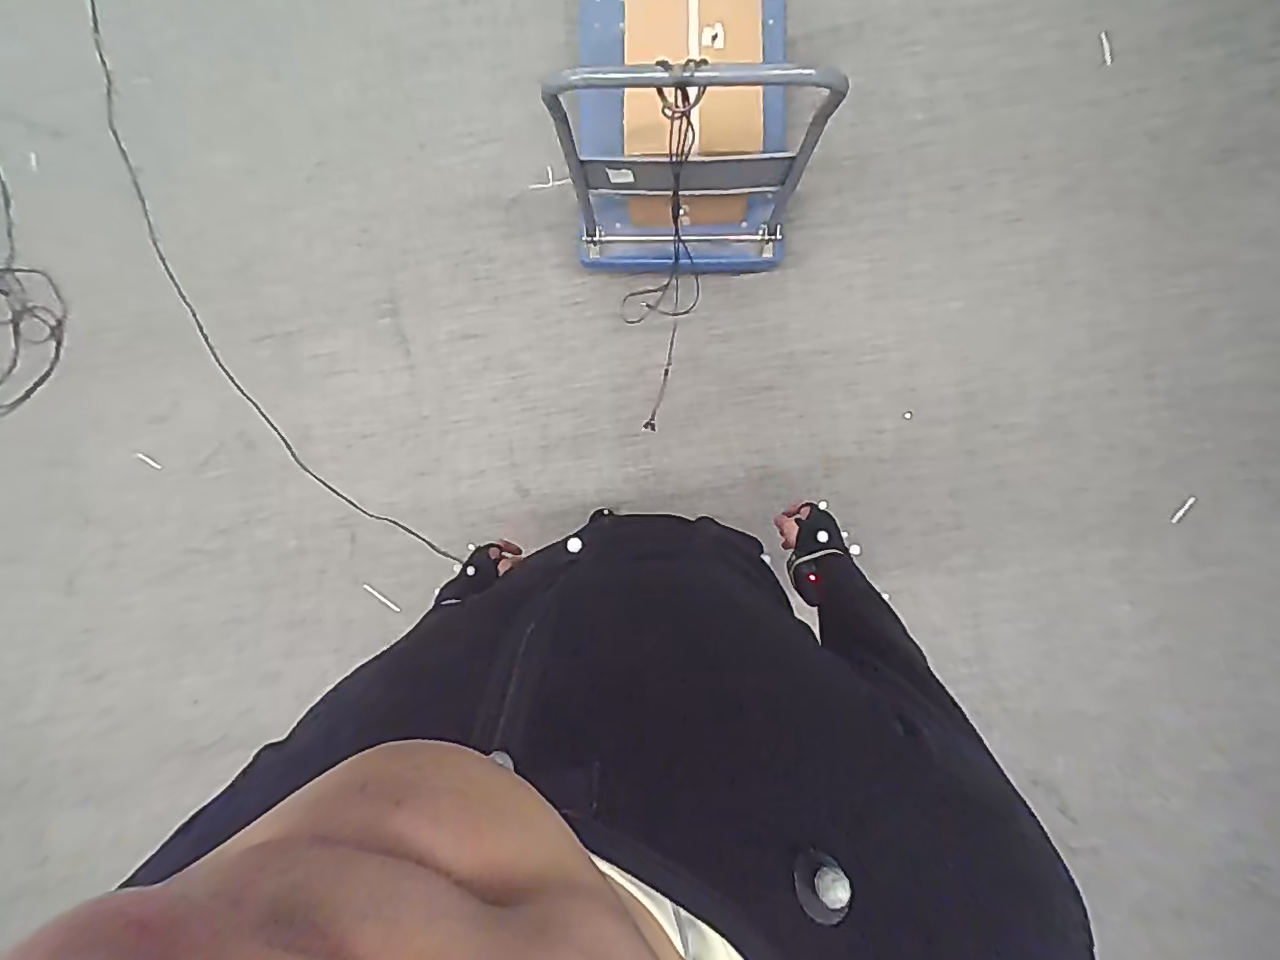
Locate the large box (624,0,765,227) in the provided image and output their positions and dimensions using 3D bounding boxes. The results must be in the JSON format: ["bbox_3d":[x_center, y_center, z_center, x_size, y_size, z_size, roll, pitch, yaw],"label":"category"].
[{"bbox_3d":[0.130,-0.906,1.356,0.320,0.320,0.408,1,87,3],"label":"large box"}]
